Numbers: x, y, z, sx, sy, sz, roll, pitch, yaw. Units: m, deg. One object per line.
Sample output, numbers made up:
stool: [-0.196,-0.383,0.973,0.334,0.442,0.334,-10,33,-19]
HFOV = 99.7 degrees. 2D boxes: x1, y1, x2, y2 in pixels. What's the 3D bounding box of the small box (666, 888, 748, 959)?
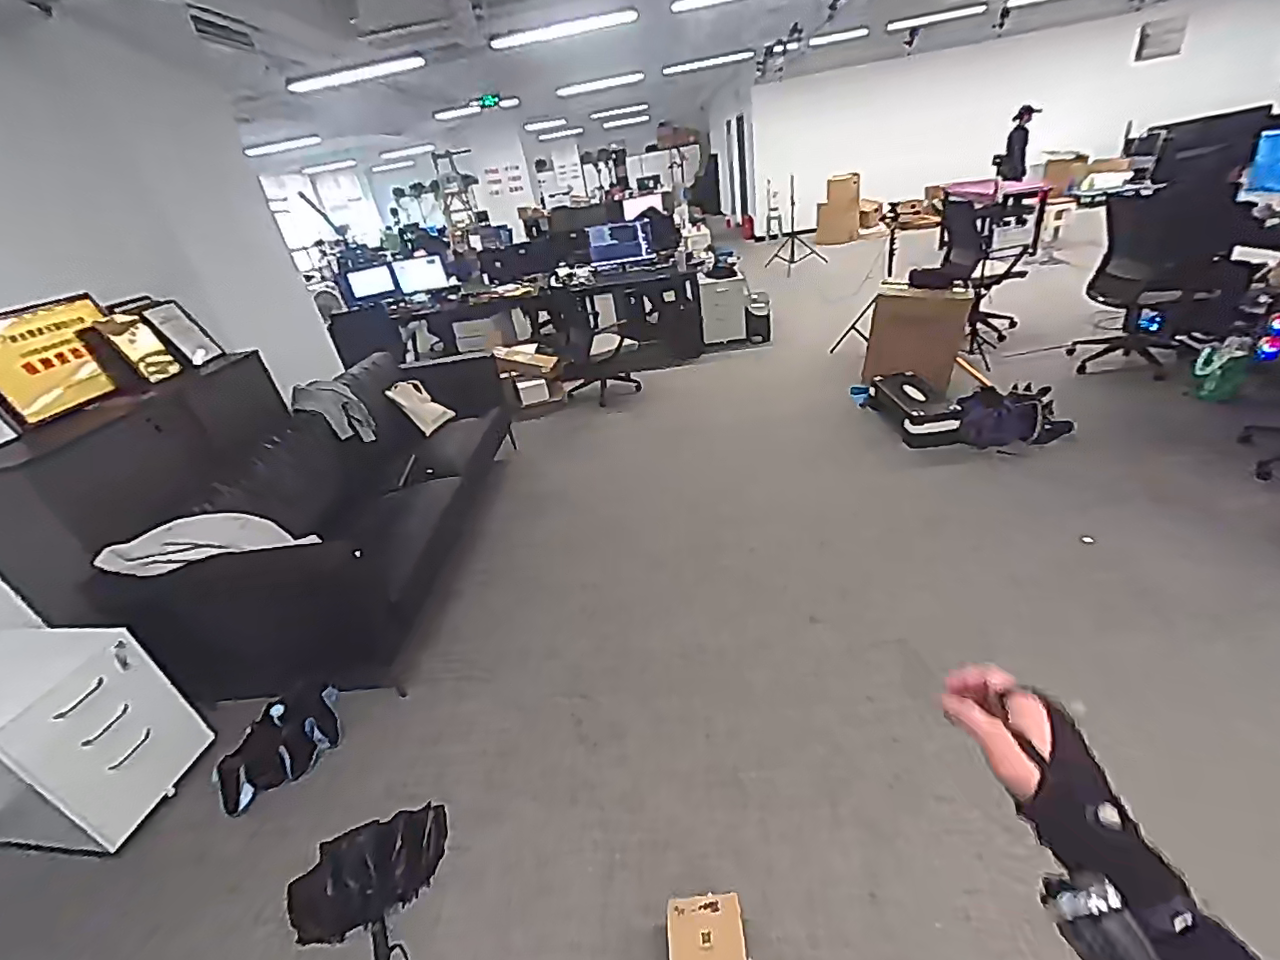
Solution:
small box: [0.155,1.053,1.208,0.168,0.176,0.179,-9,32,4]
